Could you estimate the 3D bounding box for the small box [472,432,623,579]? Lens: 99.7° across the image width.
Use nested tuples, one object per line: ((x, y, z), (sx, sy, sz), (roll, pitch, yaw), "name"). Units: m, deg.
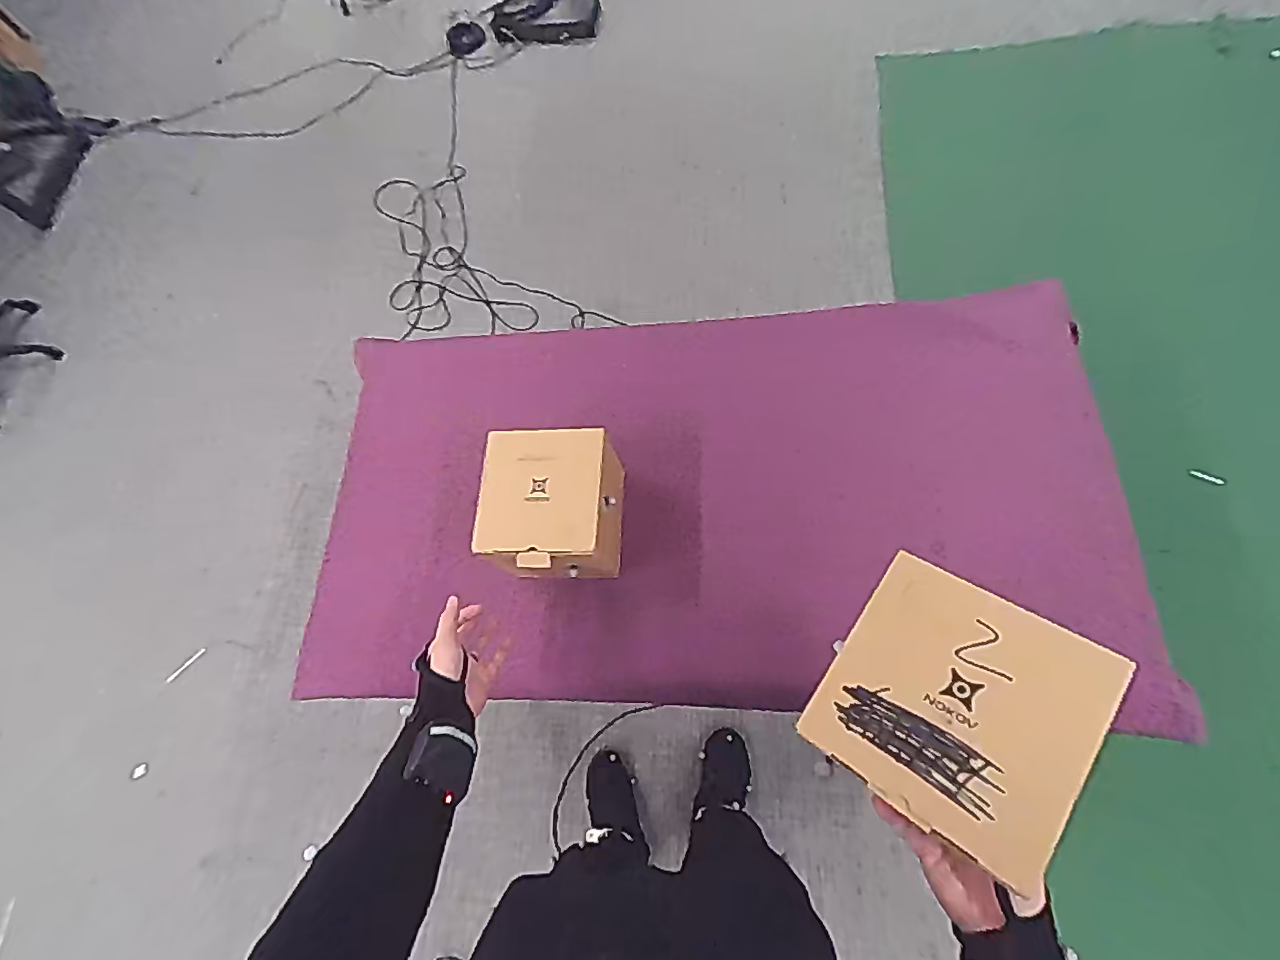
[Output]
((-0.122, 0.044, 0.791), (0.168, 0.176, 0.179), (0, 68, 9), "small box")
